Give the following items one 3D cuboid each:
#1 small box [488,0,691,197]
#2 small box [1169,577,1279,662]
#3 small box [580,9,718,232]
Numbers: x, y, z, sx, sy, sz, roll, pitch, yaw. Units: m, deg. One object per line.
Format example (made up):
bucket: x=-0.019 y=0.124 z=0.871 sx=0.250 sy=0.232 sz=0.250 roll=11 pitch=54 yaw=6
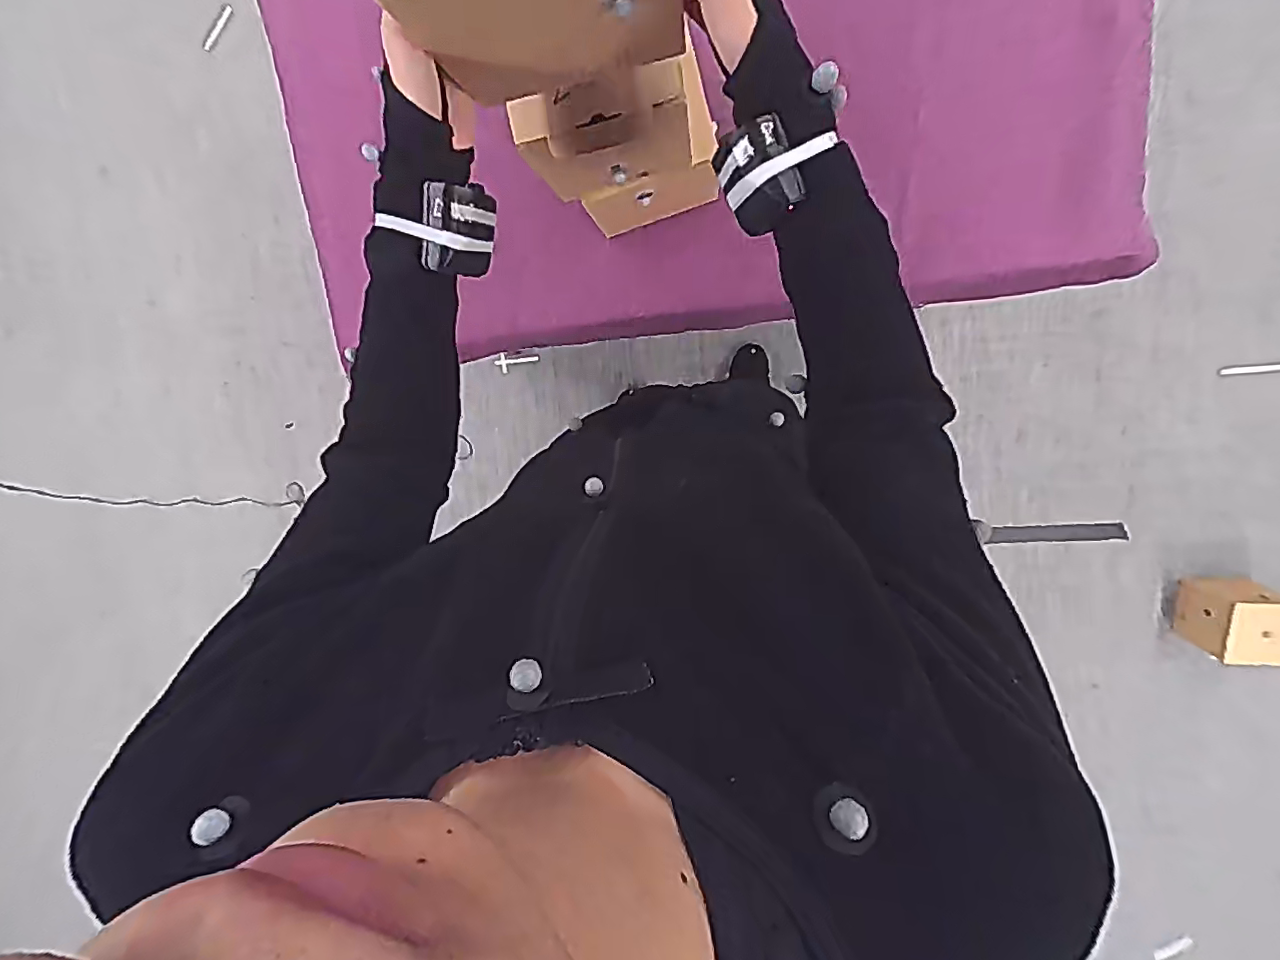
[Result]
small box: x=-0.043 y=-0.426 z=0.560 sx=0.168 sy=0.176 sz=0.179 roll=-9 pitch=100 yaw=10
small box: x=1.567 y=0.362 z=1.429 sx=0.179 sy=0.176 sz=0.168 roll=0 pitch=101 yaw=7
small box: x=0.000 y=-0.454 z=0.718 sx=0.179 sy=0.176 sz=0.168 roll=-15 pitch=99 yaw=9
